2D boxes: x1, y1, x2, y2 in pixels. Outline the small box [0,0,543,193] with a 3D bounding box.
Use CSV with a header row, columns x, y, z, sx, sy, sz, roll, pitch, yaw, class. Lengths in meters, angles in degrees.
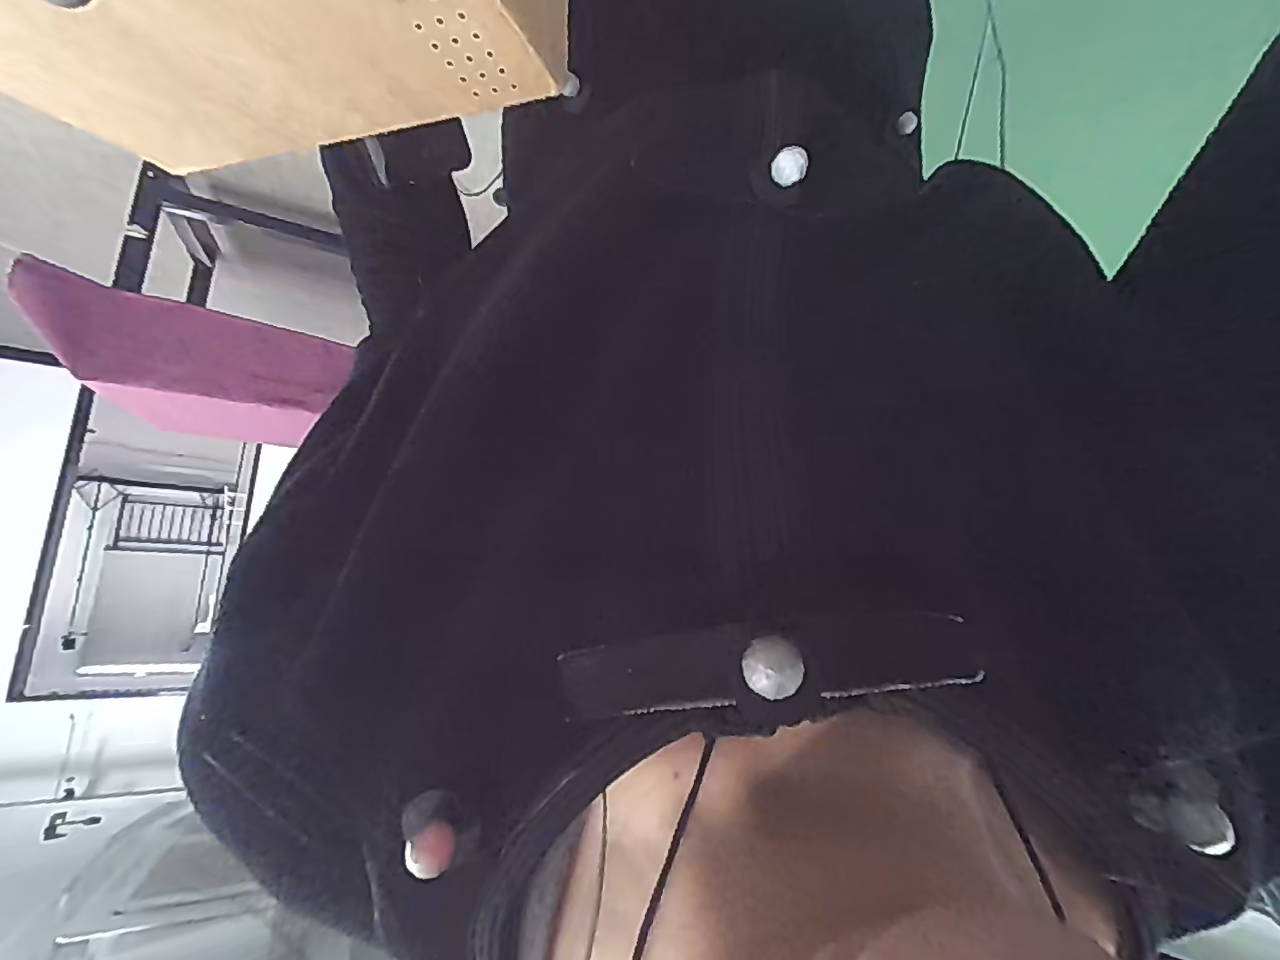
x,y,z,sx,sy,sz,roll,pitch,yaw,class
-0.131,-0.199,0.116,0.176,0.179,0.168,-1,-179,17,small box
